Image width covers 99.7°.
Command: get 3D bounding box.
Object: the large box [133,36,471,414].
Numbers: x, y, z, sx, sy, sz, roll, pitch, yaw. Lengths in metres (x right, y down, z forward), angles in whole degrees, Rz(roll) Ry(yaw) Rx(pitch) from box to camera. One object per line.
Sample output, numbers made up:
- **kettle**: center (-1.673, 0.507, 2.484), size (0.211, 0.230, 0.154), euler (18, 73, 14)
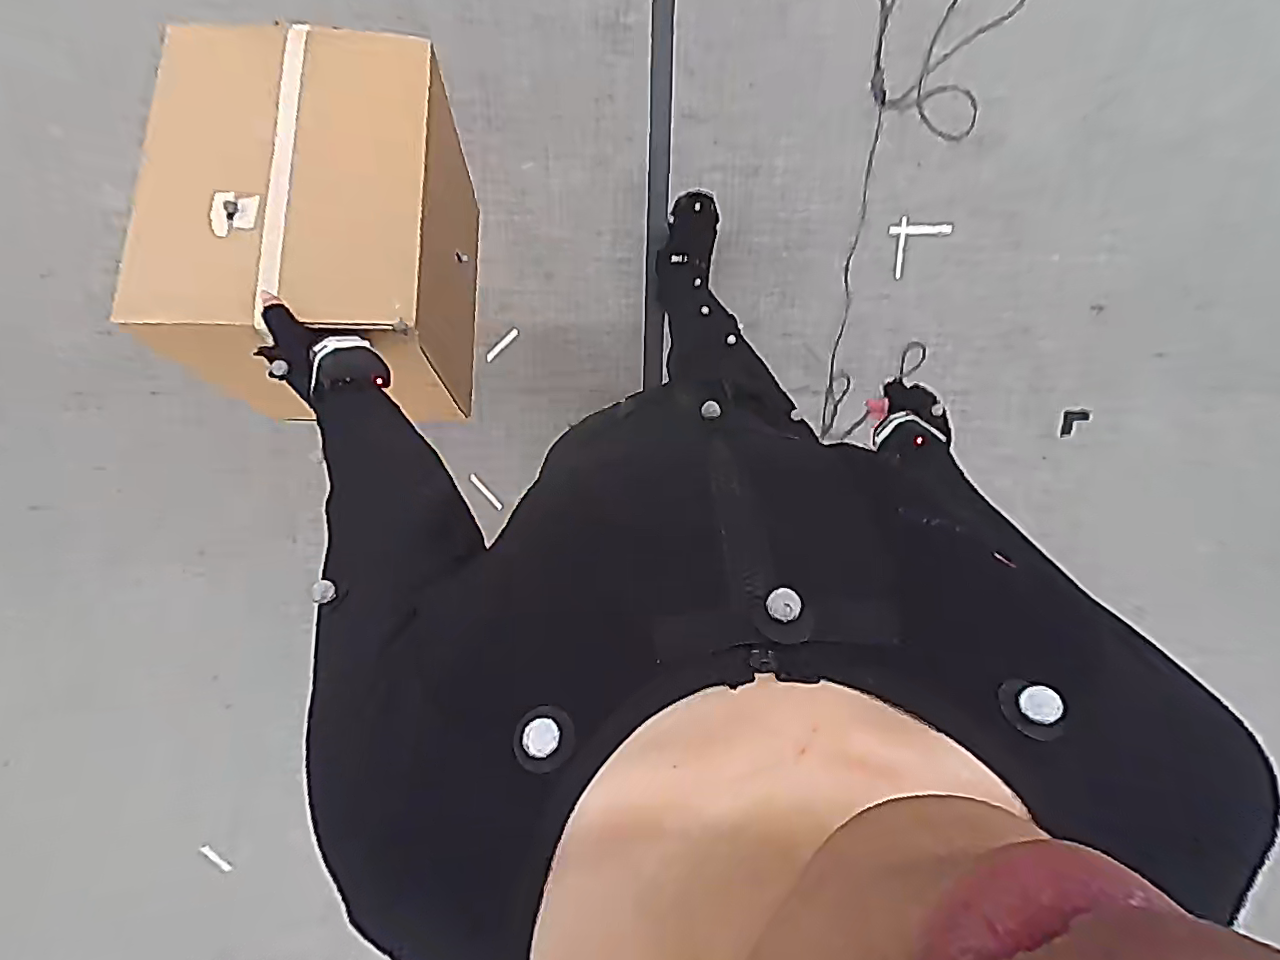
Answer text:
- **large box**: center (-0.436, -0.336, 0.797), size (0.320, 0.320, 0.408), euler (-1, 78, -5)
